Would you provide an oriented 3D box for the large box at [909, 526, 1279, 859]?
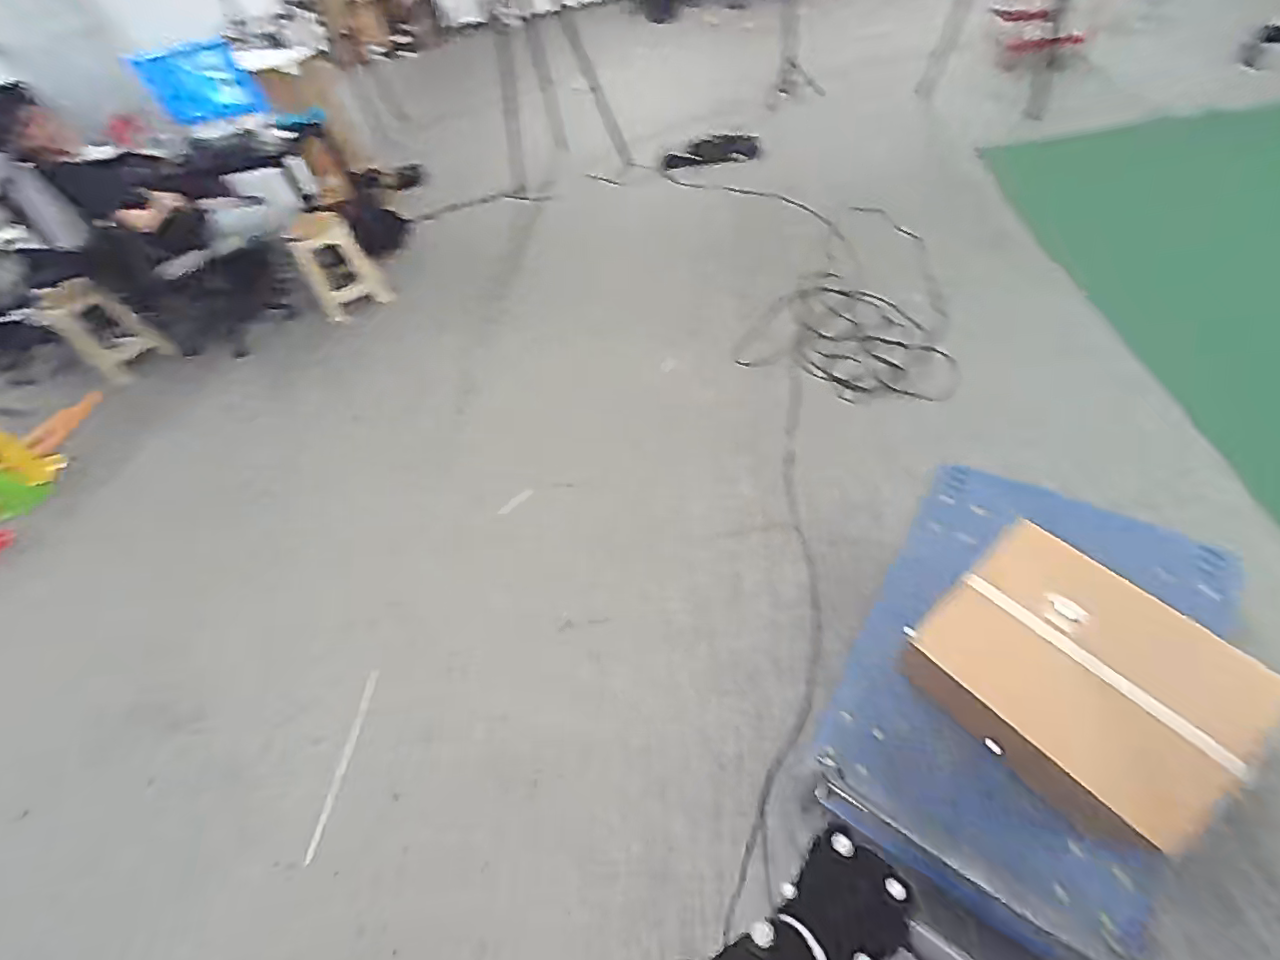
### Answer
[{"bbox_3d":[0.761,0.362,0.963,0.320,0.320,0.408,-43,55,-5],"label":"large box"}]
